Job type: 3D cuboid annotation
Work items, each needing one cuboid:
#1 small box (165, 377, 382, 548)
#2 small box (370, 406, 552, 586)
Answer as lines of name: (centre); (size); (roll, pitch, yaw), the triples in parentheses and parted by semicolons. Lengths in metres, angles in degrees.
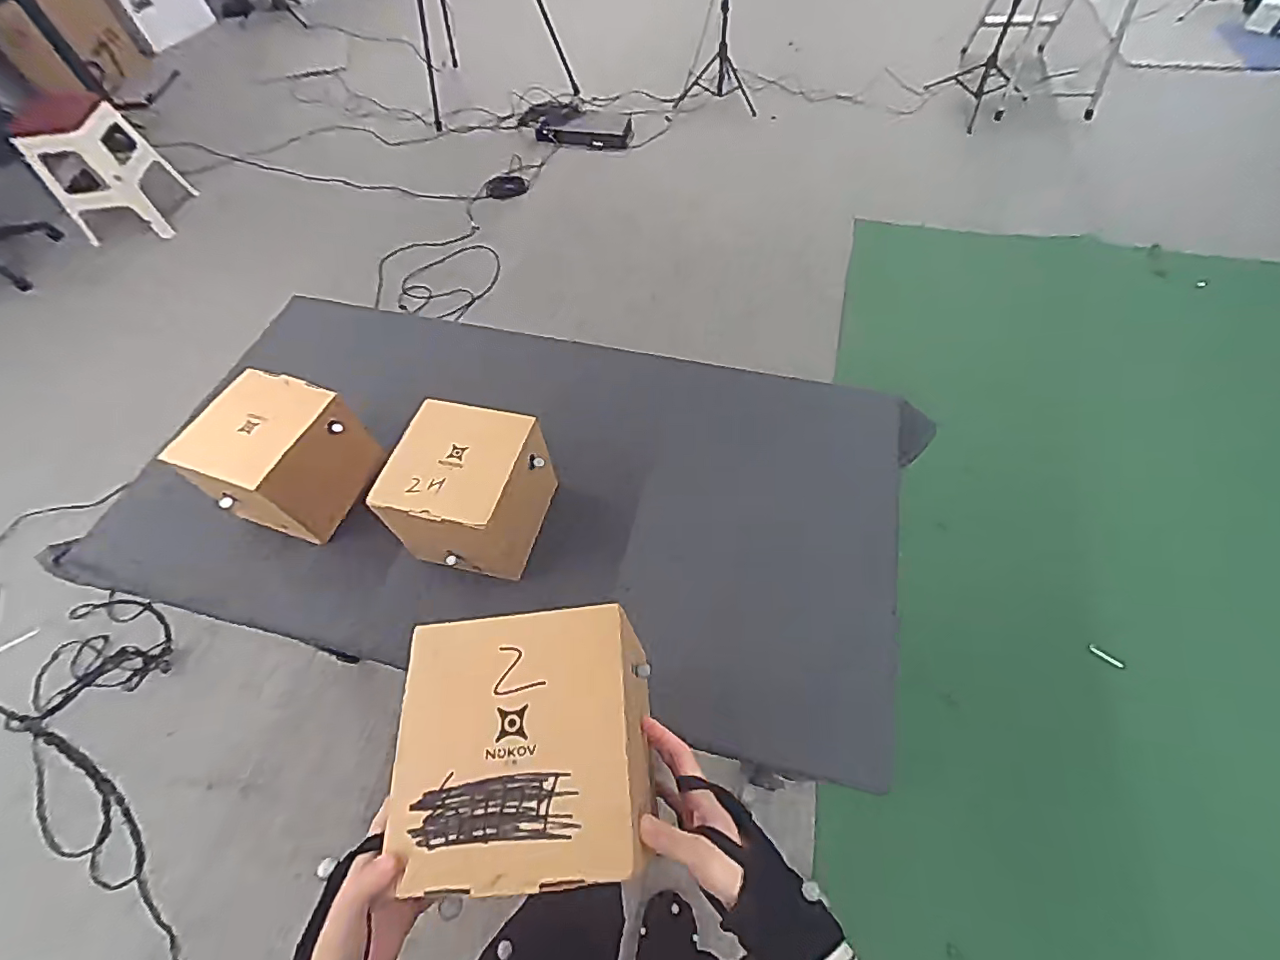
small box: (-0.529, -0.022, 0.814); (0.168, 0.176, 0.179); (16, 58, 12)
small box: (-0.234, 0.026, 0.766); (0.168, 0.176, 0.179); (11, 58, 10)
